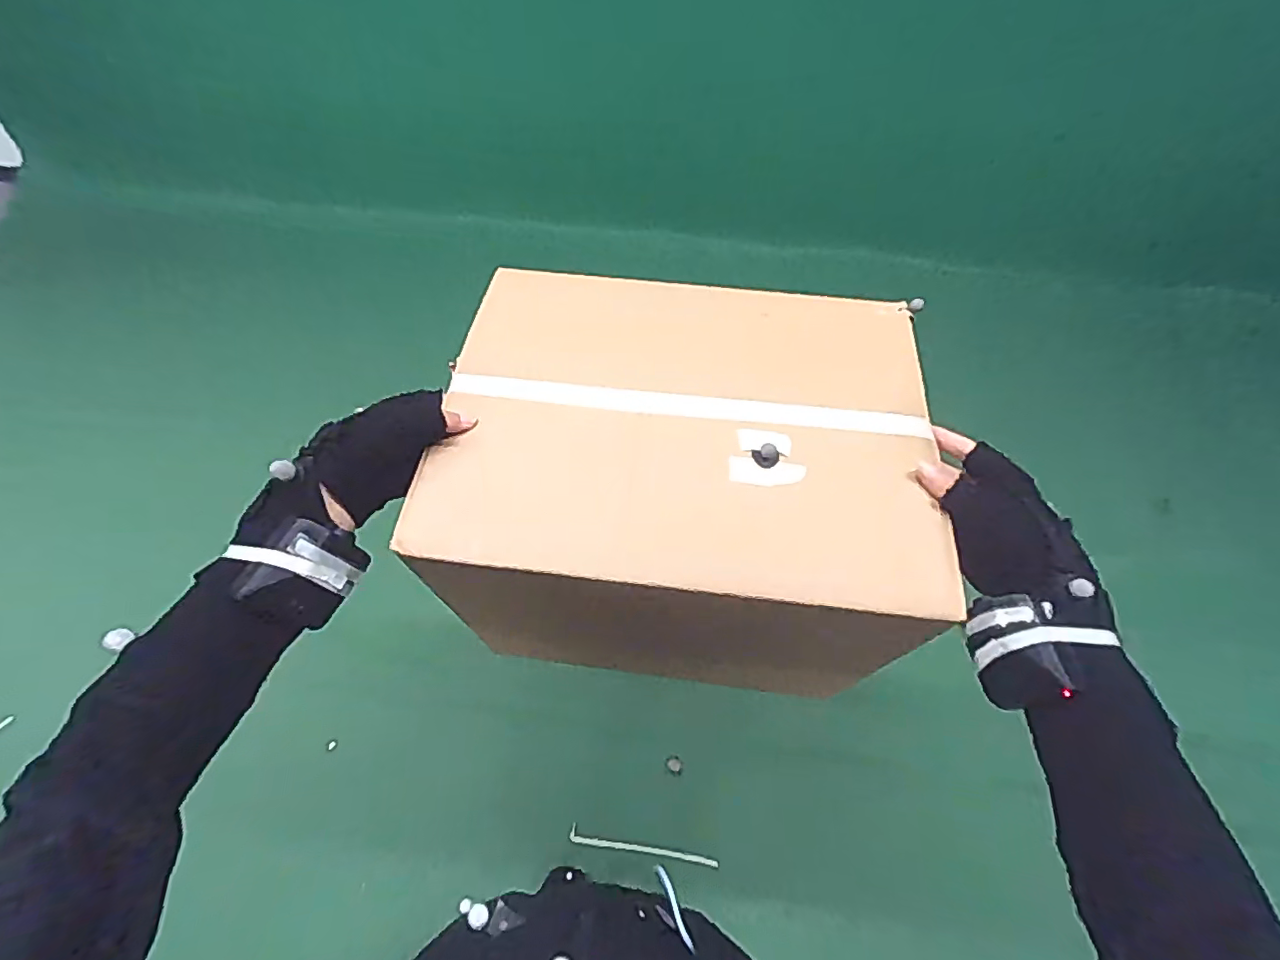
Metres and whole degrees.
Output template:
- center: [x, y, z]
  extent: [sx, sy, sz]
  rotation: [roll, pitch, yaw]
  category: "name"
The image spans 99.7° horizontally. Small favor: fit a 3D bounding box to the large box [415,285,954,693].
- center: [0.040, 0.024, 0.595]
  extent: [0.408, 0.320, 0.320]
  rotation: [7, 59, 3]
  category: "large box"
